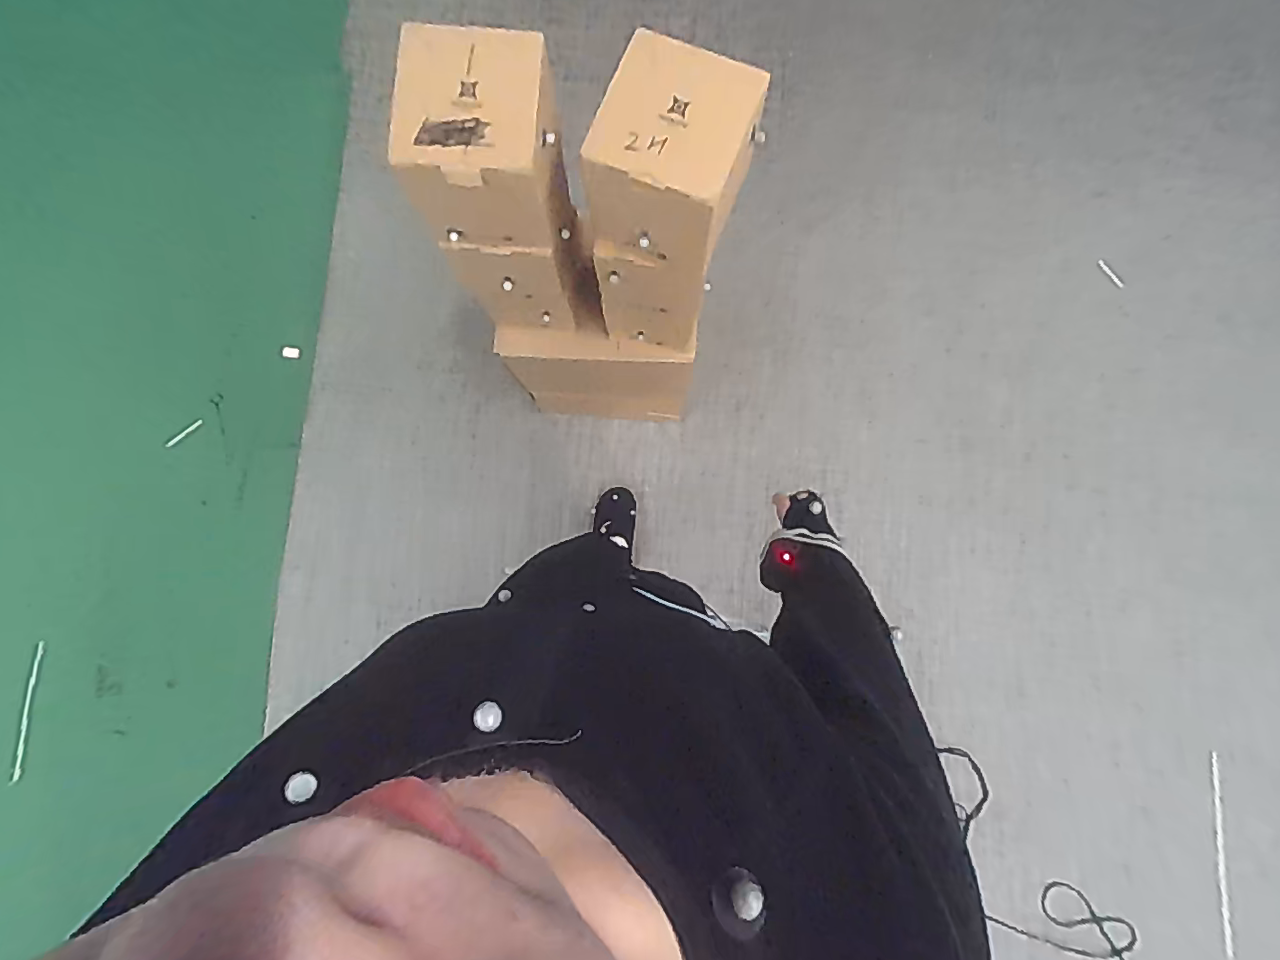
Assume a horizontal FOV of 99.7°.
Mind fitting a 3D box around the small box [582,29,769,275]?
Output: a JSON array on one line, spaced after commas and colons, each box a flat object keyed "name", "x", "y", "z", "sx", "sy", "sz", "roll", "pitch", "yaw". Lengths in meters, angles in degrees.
[{"name": "small box", "x": 0.041, "y": -0.400, "z": 0.685, "sx": 0.168, "sy": 0.176, "sz": 0.179, "roll": 22, "pitch": 85, "yaw": 4}]

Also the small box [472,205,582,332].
[{"name": "small box", "x": -0.203, "y": -0.394, "z": 1.021, "sx": 0.168, "sy": 0.176, "sz": 0.179, "roll": 5, "pitch": 84, "yaw": -1}]

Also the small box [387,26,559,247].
[{"name": "small box", "x": -0.199, "y": -0.424, "z": 0.694, "sx": 0.168, "sy": 0.176, "sz": 0.179, "roll": 3, "pitch": 83, "yaw": -1}]

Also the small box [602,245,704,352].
[{"name": "small box", "x": 0.029, "y": -0.362, "z": 1.013, "sx": 0.168, "sy": 0.176, "sz": 0.179, "roll": 10, "pitch": 84, "yaw": 3}]
